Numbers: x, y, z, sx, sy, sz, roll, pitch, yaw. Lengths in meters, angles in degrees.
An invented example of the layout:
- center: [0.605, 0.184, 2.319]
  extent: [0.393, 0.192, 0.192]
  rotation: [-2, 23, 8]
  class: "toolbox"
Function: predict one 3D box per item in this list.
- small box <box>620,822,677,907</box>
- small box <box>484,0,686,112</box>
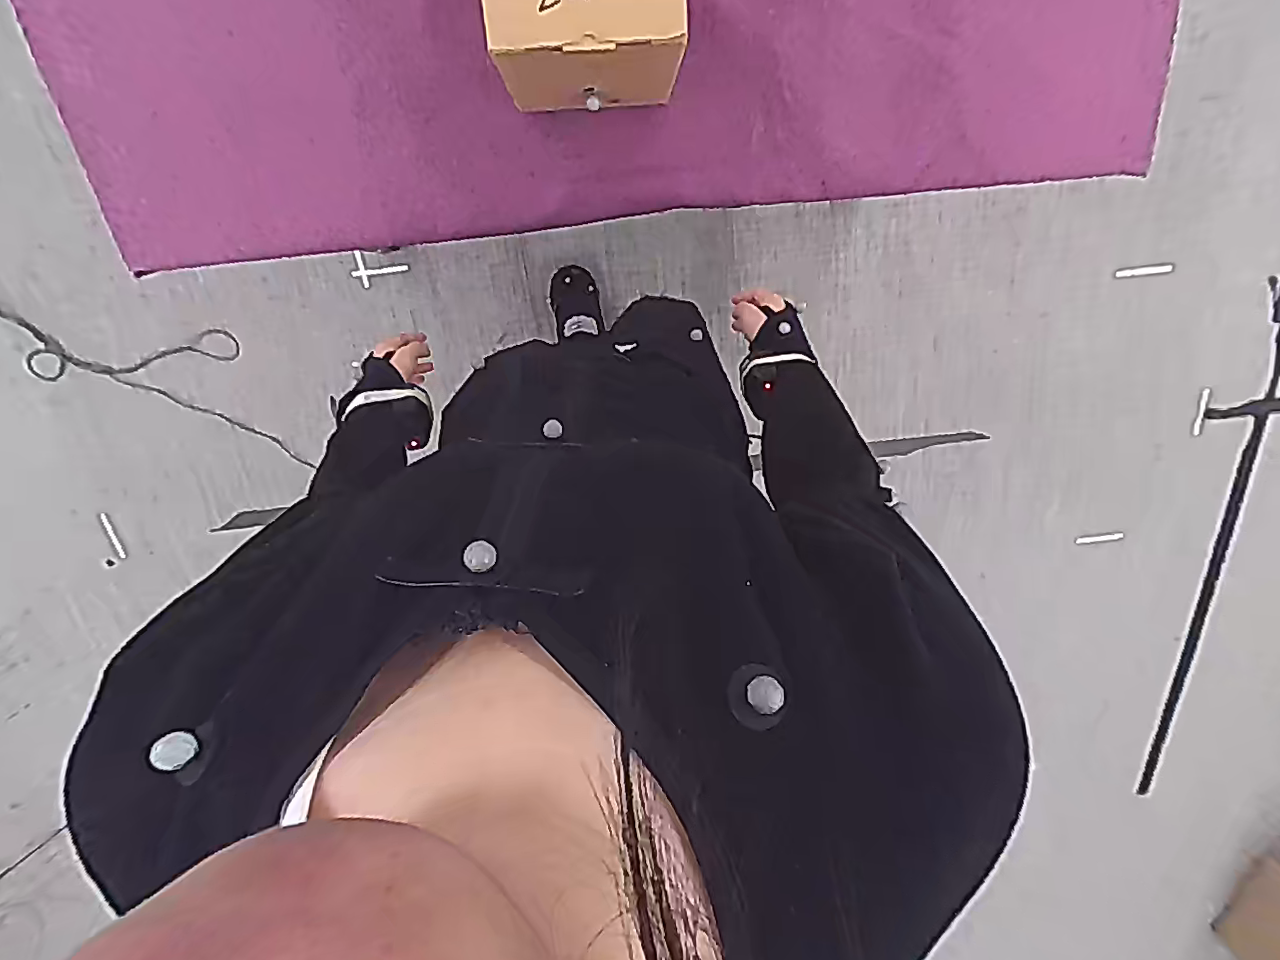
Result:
- center: [0.029, 1.388, 1.958]
  extent: [0.168, 0.176, 0.179]
  rotation: [-16, 111, 1]
  class: "small box"
- center: [-0.053, -0.465, 0.493]
  extent: [0.168, 0.176, 0.179]
  rotation: [-5, 110, -2]
  class: "small box"
